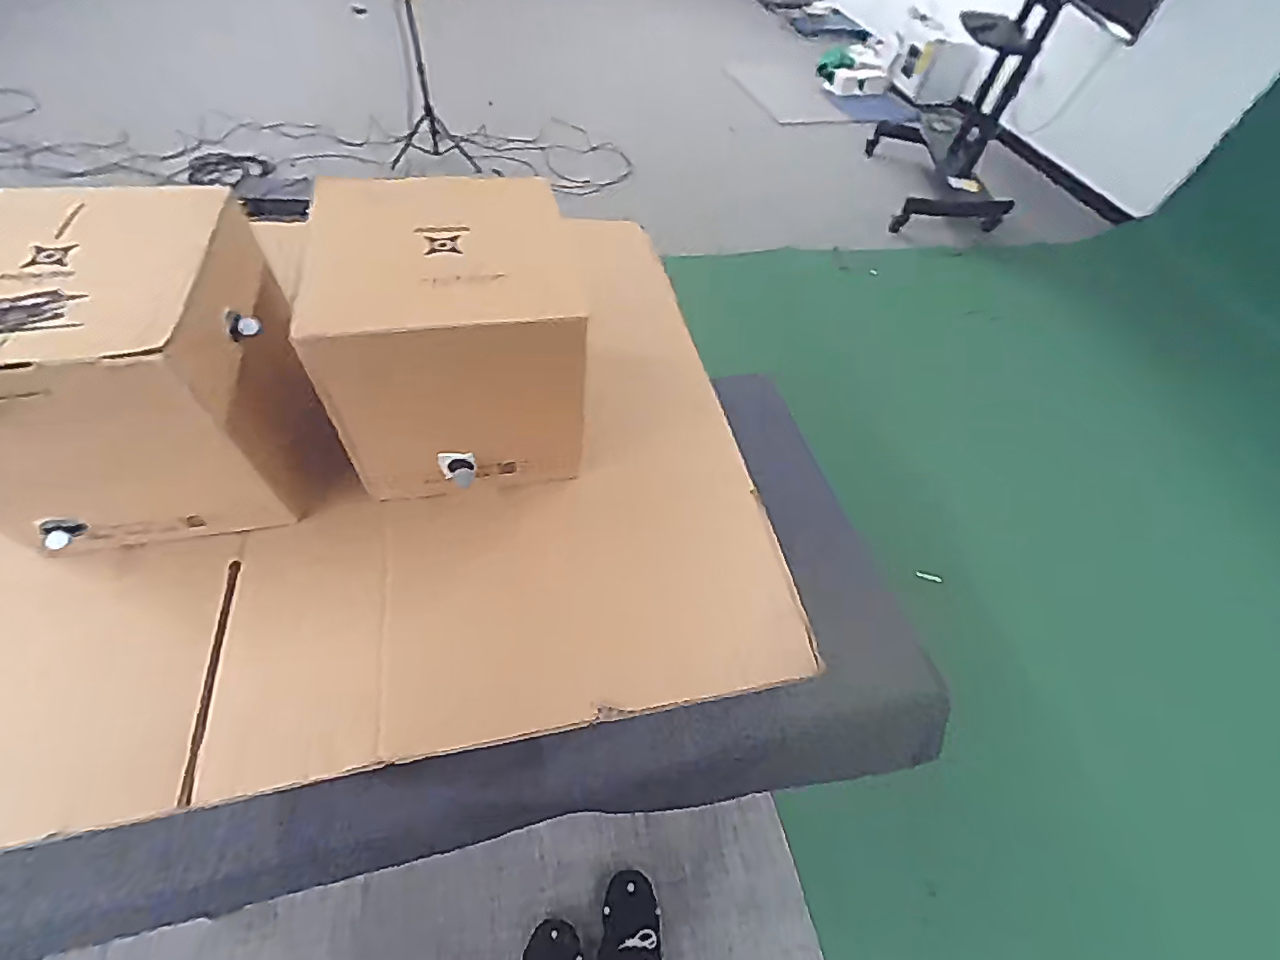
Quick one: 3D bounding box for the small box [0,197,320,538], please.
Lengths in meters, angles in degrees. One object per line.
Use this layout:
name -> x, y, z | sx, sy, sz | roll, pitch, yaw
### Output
small box -> -0.351, -0.072, 0.383 | 0.168, 0.176, 0.179 | -7, 55, -12
